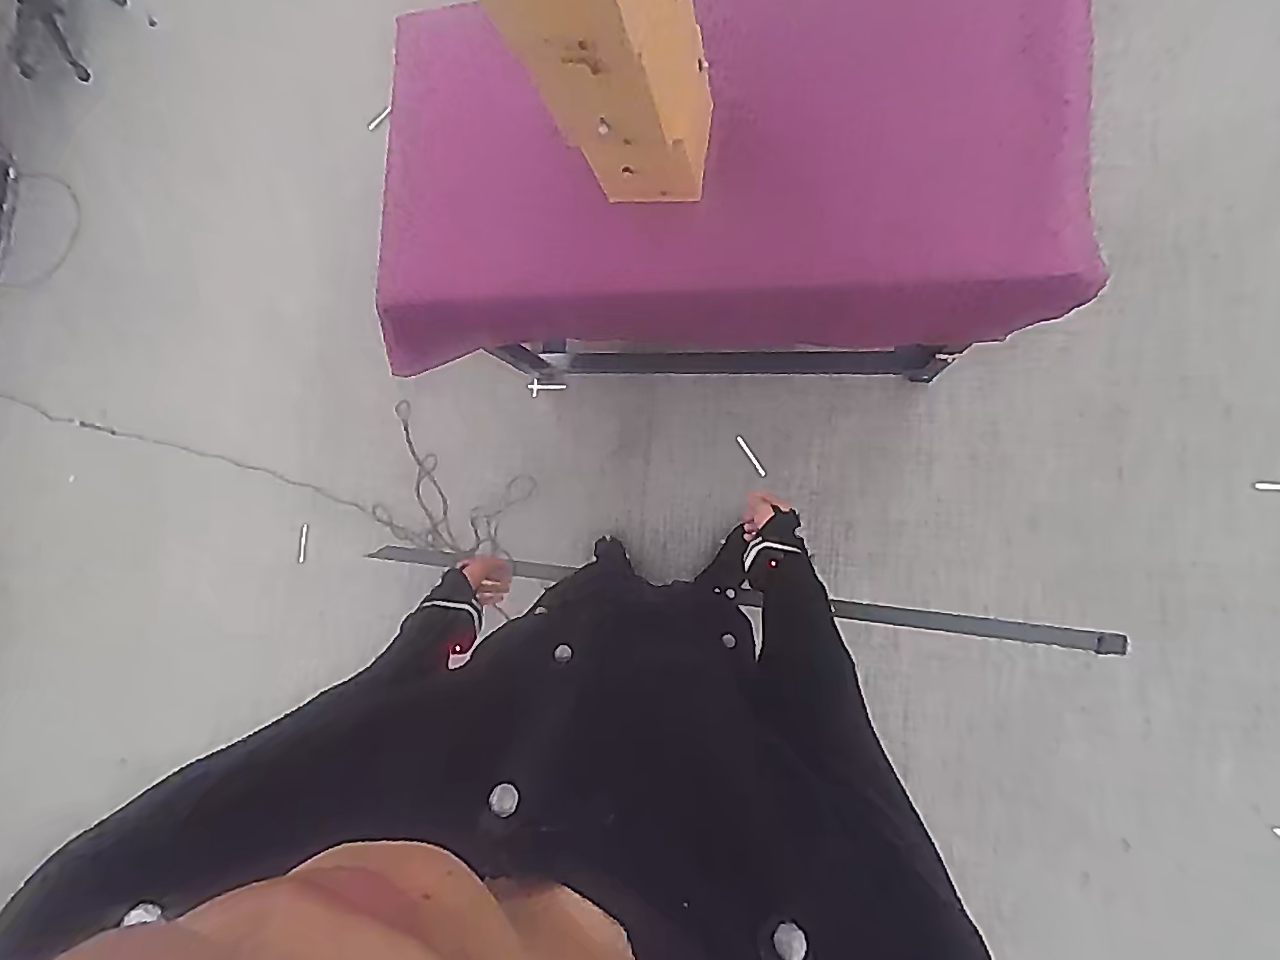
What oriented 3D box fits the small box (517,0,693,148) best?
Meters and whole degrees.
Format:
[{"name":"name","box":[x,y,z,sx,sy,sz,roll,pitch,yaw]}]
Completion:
[{"name":"small box","box":[-0.033,-0.581,0.712,0.168,0.176,0.179,14,90,15]}]

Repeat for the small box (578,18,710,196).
[{"name":"small box","box":[0.014,-0.581,0.870,0.168,0.176,0.179,7,88,15]}]
